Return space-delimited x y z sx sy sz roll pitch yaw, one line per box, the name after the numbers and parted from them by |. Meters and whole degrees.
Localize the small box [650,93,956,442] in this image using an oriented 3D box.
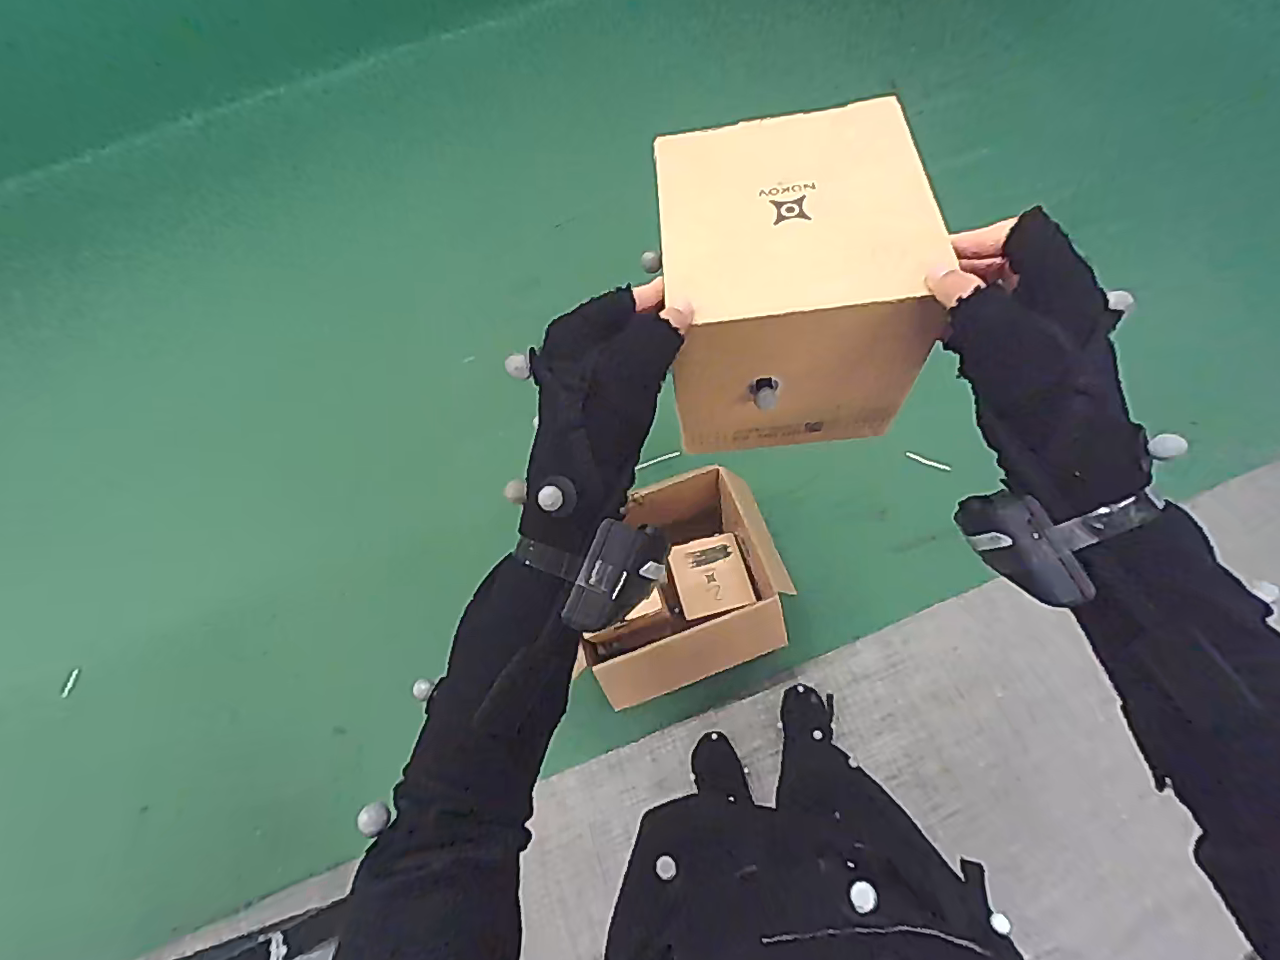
0.103 -0.139 0.409 0.168 0.176 0.179 -6 65 7 | small box
